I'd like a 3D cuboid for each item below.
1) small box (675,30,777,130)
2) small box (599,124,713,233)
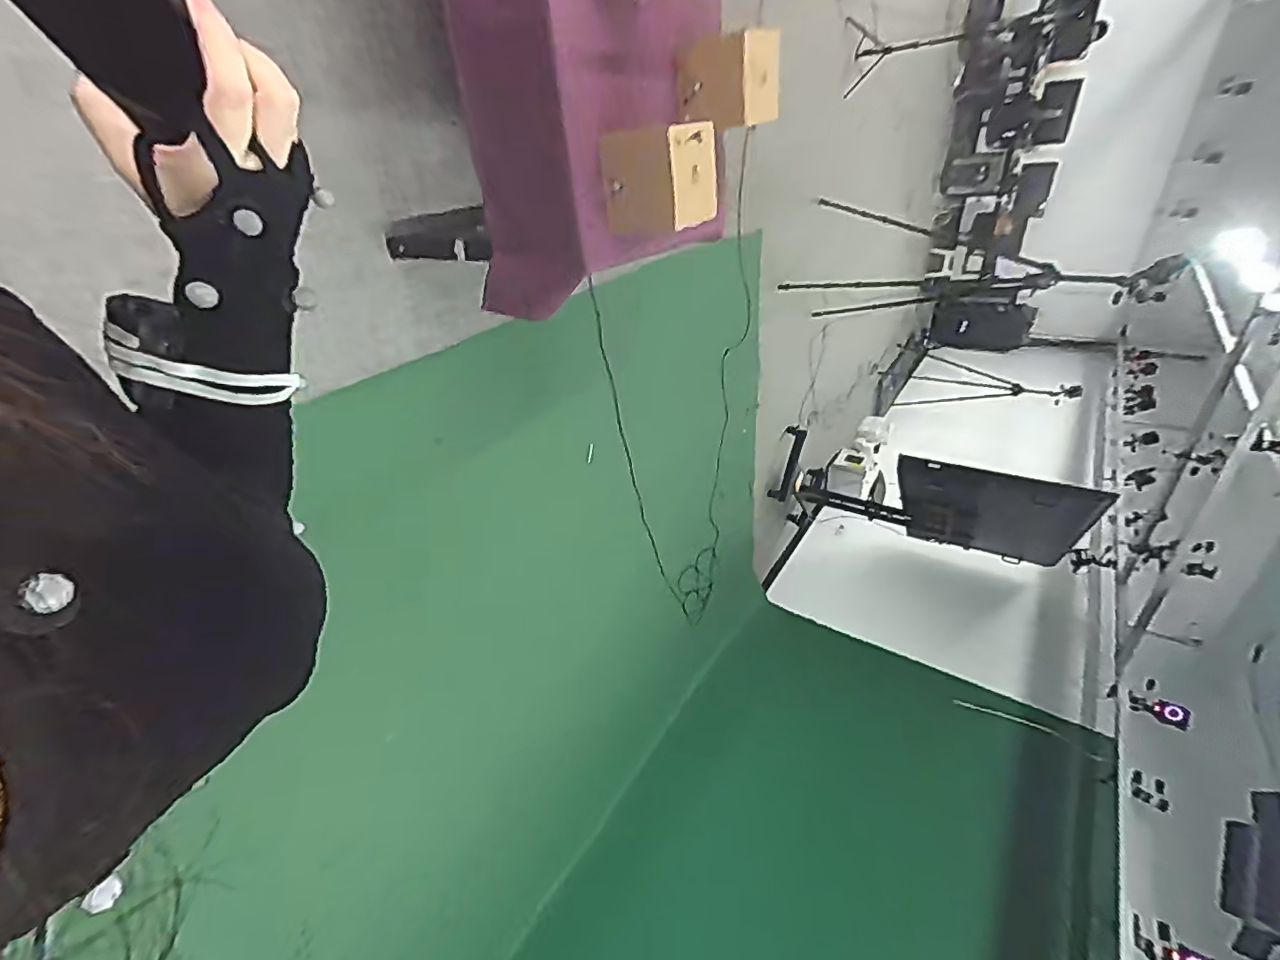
[{"bbox_3d":[0.197,-0.898,1.225,0.179,0.176,0.168,-42,135,-39],"label":"small box"},{"bbox_3d":[0.036,-0.616,1.107,0.168,0.176,0.179,-41,136,-41],"label":"small box"}]
